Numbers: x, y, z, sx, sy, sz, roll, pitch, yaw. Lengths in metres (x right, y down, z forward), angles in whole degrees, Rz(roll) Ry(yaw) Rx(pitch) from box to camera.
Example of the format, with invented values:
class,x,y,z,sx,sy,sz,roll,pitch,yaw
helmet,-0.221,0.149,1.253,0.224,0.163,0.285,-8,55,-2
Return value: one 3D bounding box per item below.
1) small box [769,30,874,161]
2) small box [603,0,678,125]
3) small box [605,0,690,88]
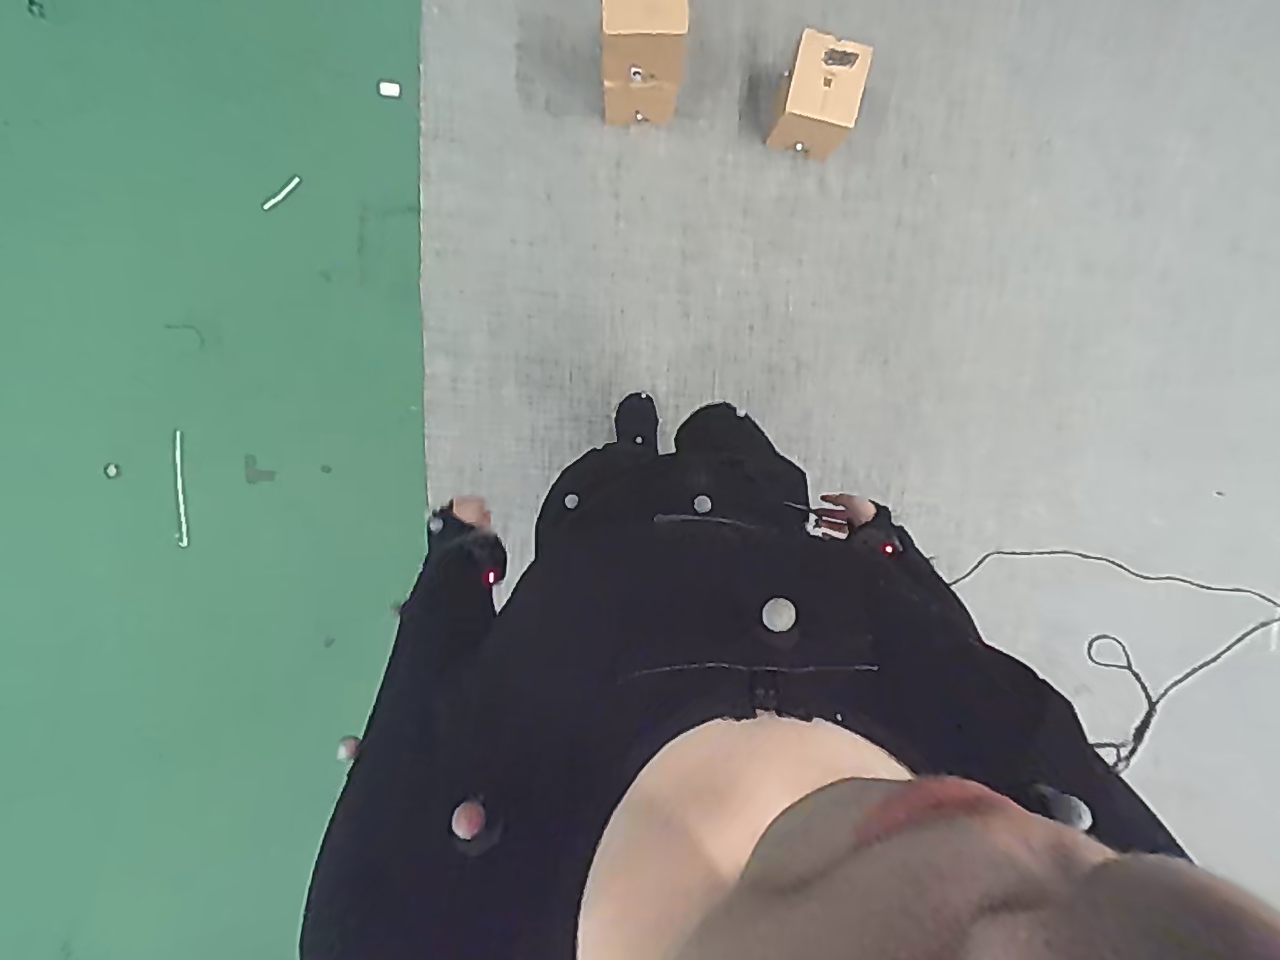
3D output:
class,x,y,z,sx,sy,sz,roll,pitch,yaw
small box,0.421,-0.902,1.284,0.168,0.176,0.179,12,98,-4
small box,-0.002,-0.964,1.259,0.168,0.176,0.179,-2,98,-2
small box,0.013,-0.946,1.101,0.168,0.176,0.179,0,96,0
